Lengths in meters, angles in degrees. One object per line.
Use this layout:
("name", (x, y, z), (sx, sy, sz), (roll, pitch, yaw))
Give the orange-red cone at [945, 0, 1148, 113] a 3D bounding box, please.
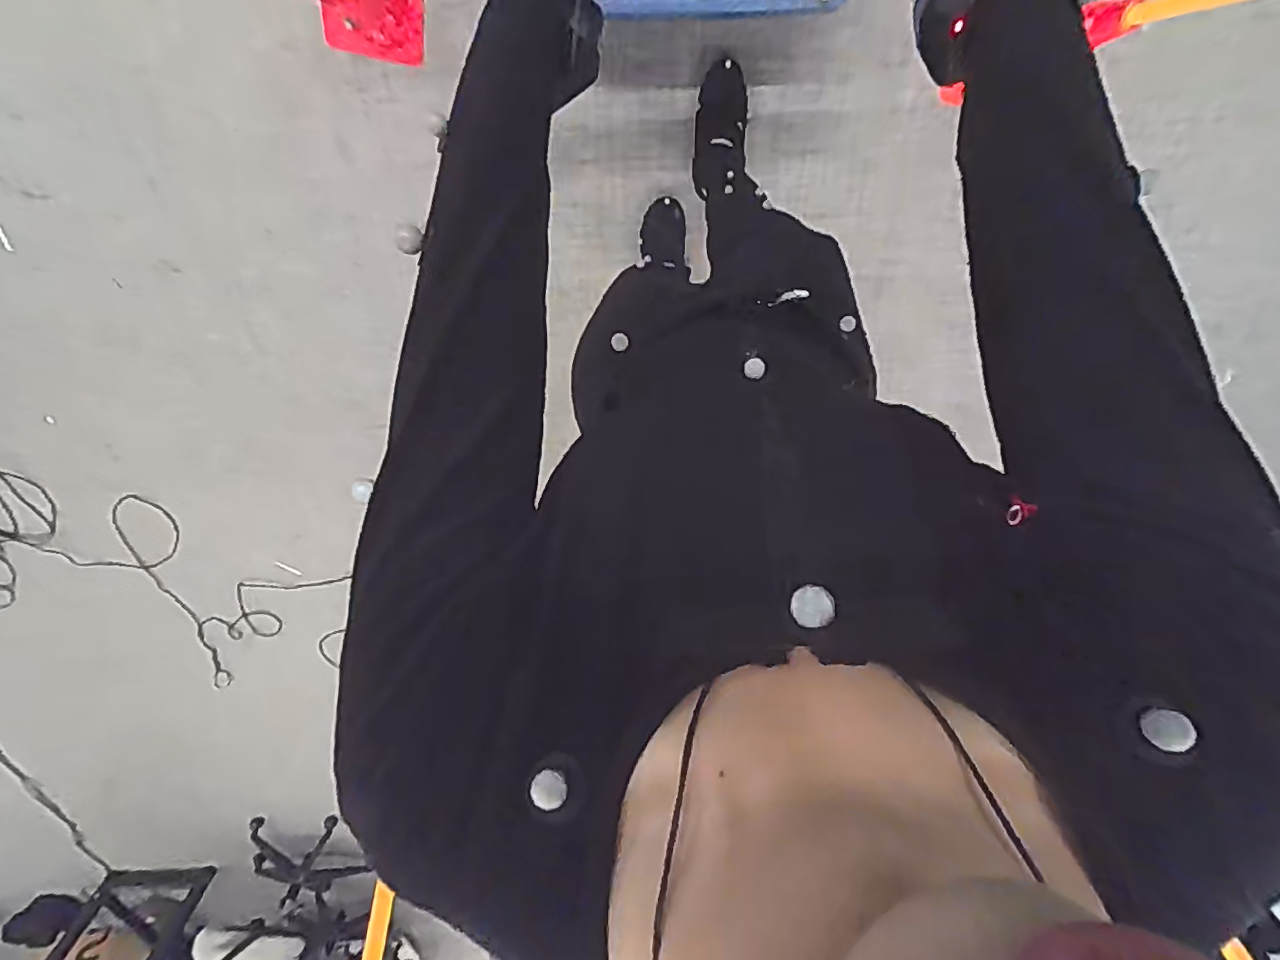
("orange-red cone", (0.752, -0.796, 0.967), (0.198, 0.360, 0.199), (8, 122, -4))
